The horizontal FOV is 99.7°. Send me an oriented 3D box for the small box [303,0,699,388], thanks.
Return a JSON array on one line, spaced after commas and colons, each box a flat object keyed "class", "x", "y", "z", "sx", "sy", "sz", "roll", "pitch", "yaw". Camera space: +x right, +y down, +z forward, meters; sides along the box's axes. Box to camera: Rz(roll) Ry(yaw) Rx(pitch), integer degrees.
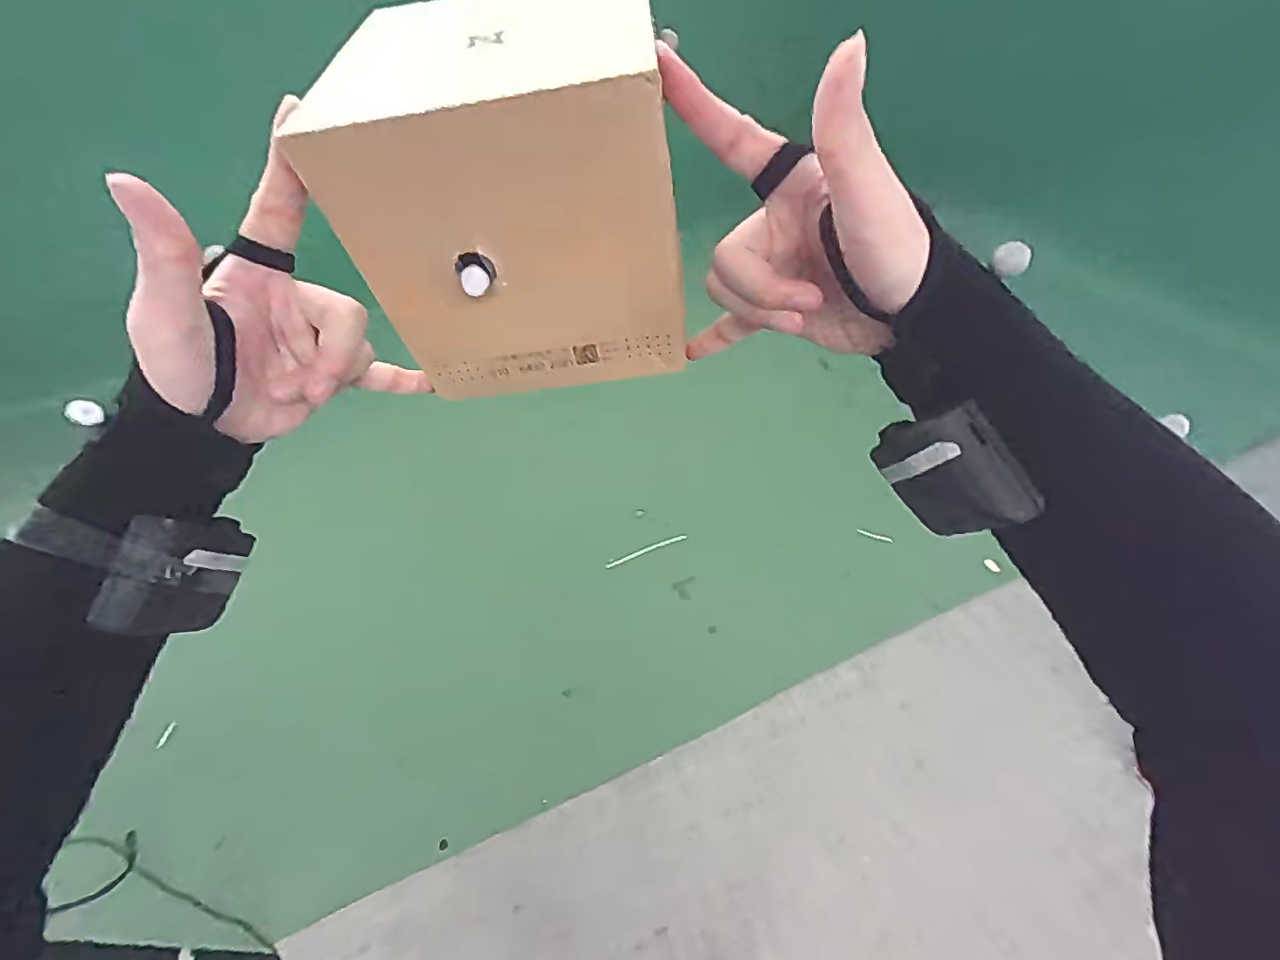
[{"class": "small box", "x": -0.056, "y": -0.172, "z": 0.335, "sx": 0.168, "sy": 0.176, "sz": 0.179, "roll": -6, "pitch": 54, "yaw": 6}]
